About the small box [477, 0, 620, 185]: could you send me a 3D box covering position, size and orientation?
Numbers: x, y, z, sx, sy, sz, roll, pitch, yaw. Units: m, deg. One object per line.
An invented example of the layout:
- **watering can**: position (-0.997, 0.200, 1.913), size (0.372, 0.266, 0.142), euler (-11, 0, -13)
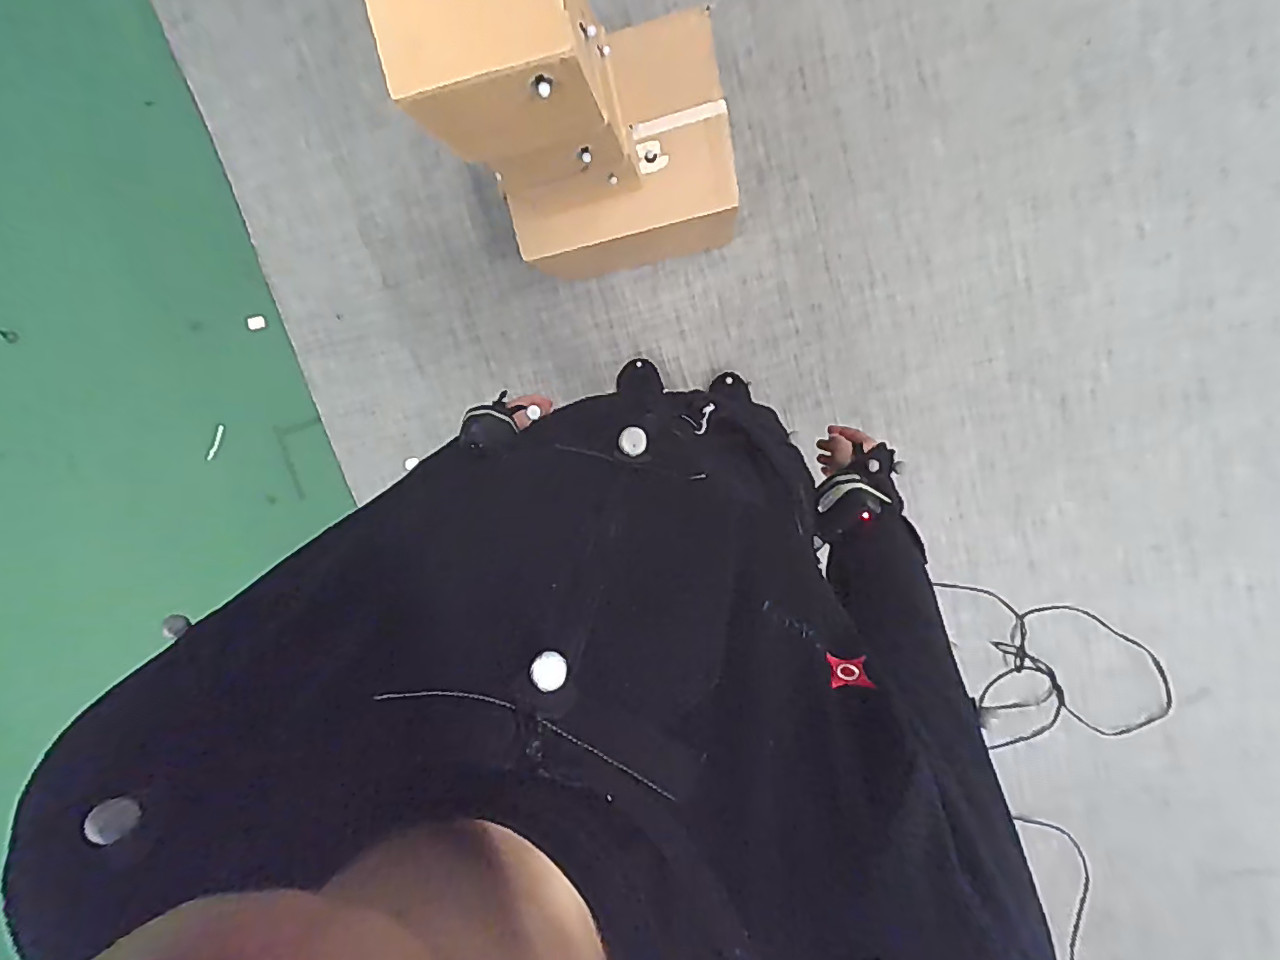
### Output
- **small box**: position (-0.128, -0.500, 0.690), size (0.168, 0.176, 0.179), euler (-12, 101, 8)

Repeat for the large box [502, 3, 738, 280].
- **large box**: position (-0.041, -0.618, 1.072), size (0.408, 0.320, 0.320), euler (-11, 103, 8)

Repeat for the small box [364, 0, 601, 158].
- **small box**: position (-0.149, -0.449, 0.536), size (0.179, 0.176, 0.168), euler (-10, 102, 7)
